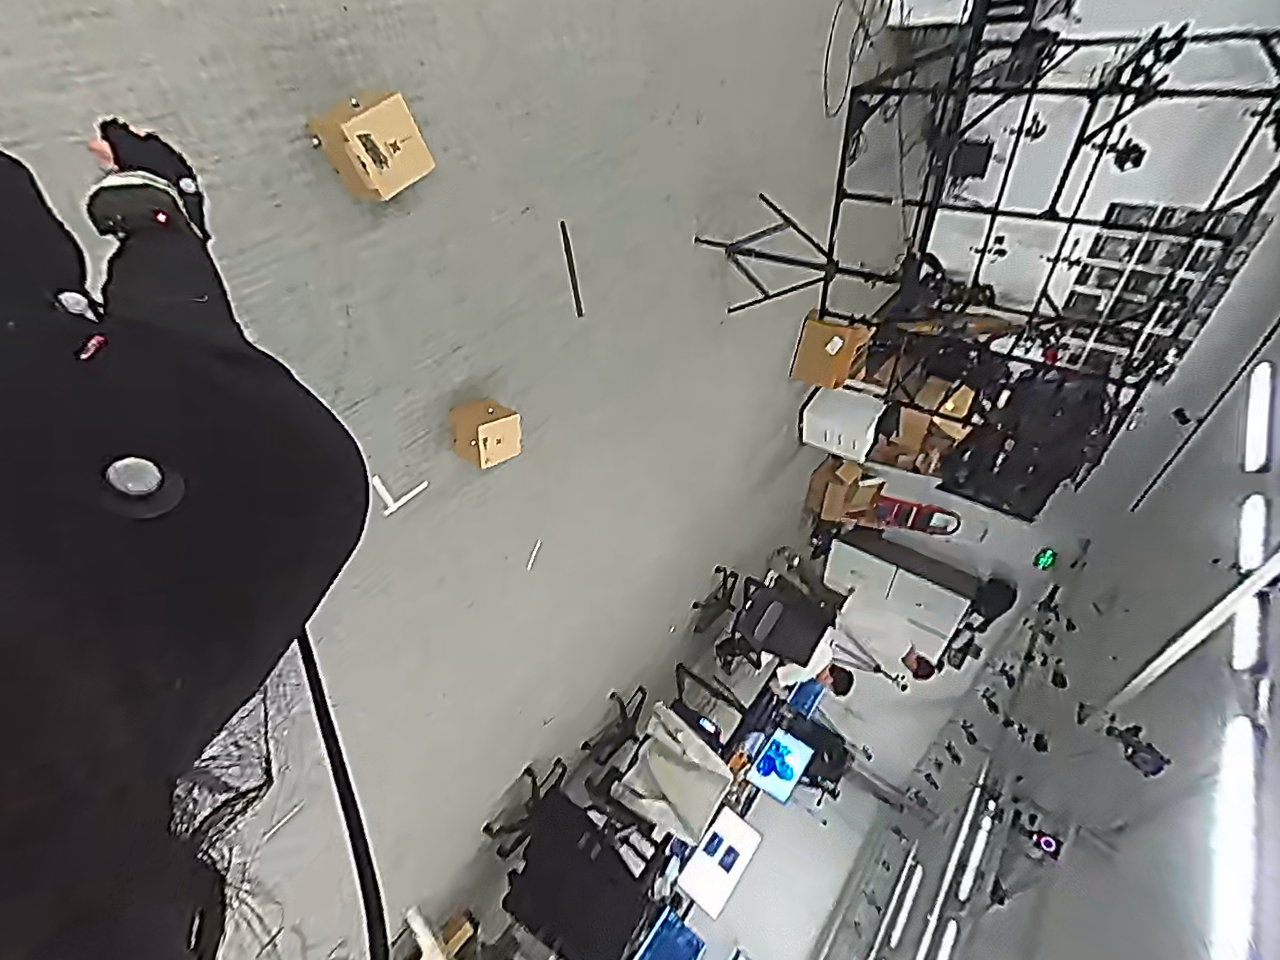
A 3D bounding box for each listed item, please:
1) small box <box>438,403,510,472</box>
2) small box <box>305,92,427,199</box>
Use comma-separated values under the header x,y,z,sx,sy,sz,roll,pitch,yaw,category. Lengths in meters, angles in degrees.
x,y,z,sx,sy,sz,roll,pitch,yaw,category
-0.580,-0.155,1.893,0.179,0.176,0.168,-30,135,-45,small box
-0.657,-0.797,1.288,0.179,0.176,0.168,-50,147,-24,small box
